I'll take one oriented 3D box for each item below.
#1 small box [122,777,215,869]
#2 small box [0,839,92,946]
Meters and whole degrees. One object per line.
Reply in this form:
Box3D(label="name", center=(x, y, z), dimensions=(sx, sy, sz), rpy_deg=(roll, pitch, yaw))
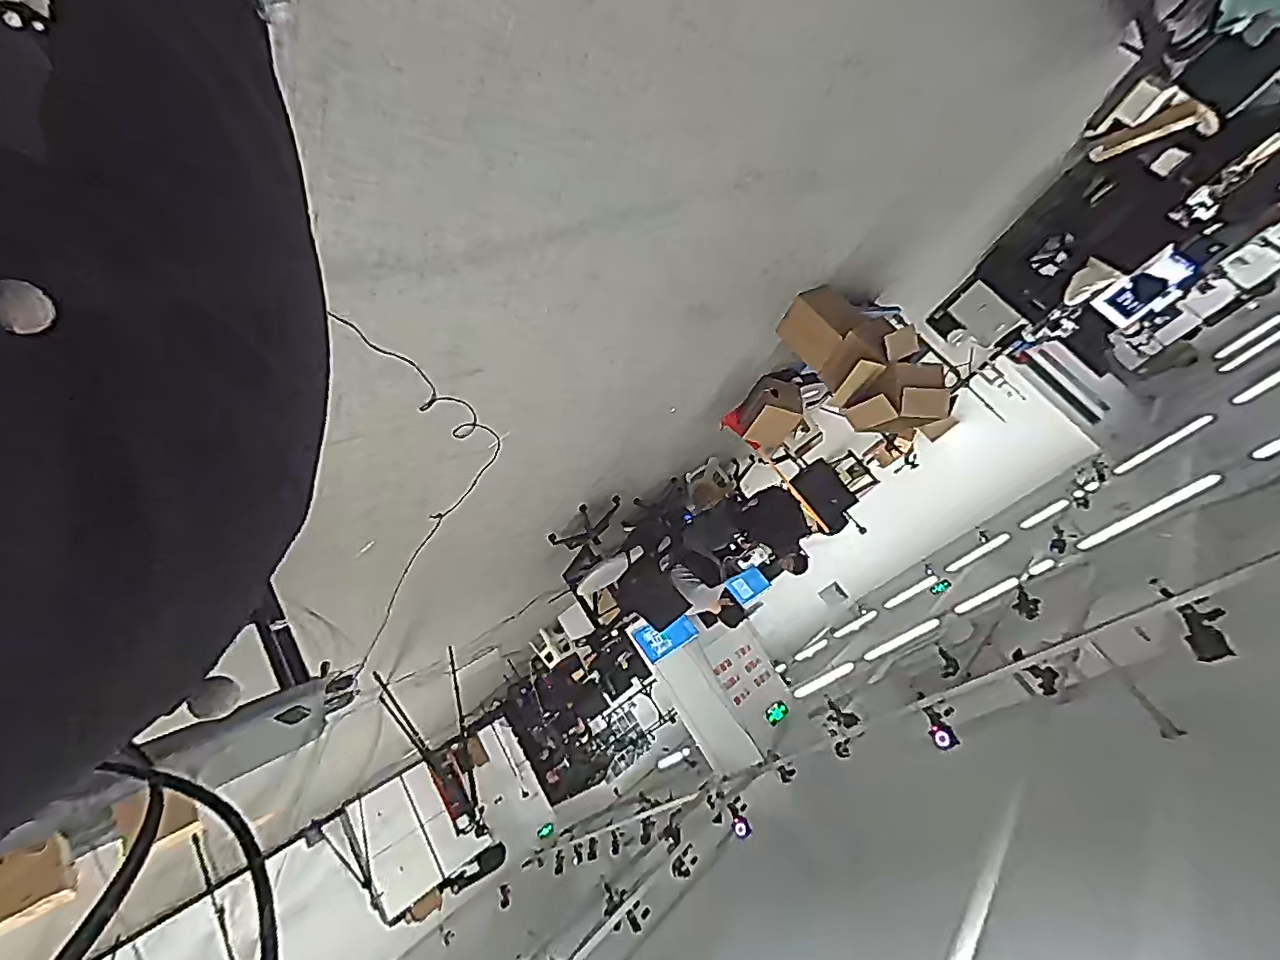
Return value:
Box3D(label="small box", center=(-1.469, 1.068, 1.691), dimensions=(0.179, 0.176, 0.168), rpy_deg=(-20, 156, -42))
Box3D(label="small box", center=(-1.667, 1.136, 1.496), dimensions=(0.168, 0.176, 0.179), rpy_deg=(-18, 155, -44))
